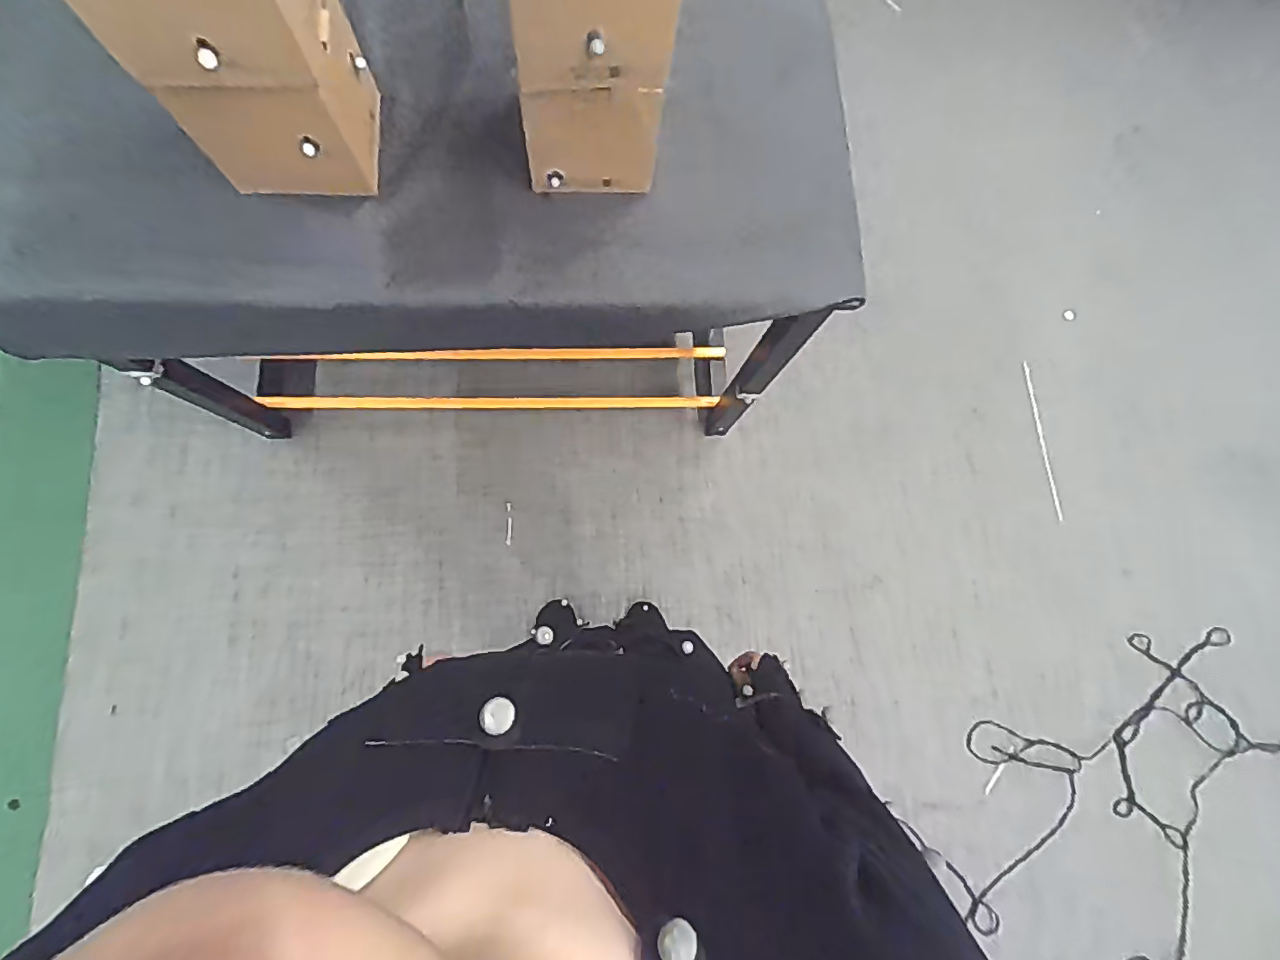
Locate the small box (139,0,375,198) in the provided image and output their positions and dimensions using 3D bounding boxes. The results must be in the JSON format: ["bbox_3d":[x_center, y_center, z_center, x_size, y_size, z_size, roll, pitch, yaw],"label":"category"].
[{"bbox_3d":[-0.441,-0.470,0.657,0.179,0.176,0.168,-3,77,-6],"label":"small box"}]

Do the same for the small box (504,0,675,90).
[{"bbox_3d":[-0.059,-0.536,0.538,0.168,0.176,0.179,-9,79,-7],"label":"small box"}]

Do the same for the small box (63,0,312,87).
[{"bbox_3d":[-0.425,-0.499,0.496,0.179,0.176,0.168,-6,77,-7],"label":"small box"}]

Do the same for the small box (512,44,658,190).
[{"bbox_3d":[-0.071,-0.504,0.700,0.168,0.176,0.179,-3,78,-6],"label":"small box"}]
